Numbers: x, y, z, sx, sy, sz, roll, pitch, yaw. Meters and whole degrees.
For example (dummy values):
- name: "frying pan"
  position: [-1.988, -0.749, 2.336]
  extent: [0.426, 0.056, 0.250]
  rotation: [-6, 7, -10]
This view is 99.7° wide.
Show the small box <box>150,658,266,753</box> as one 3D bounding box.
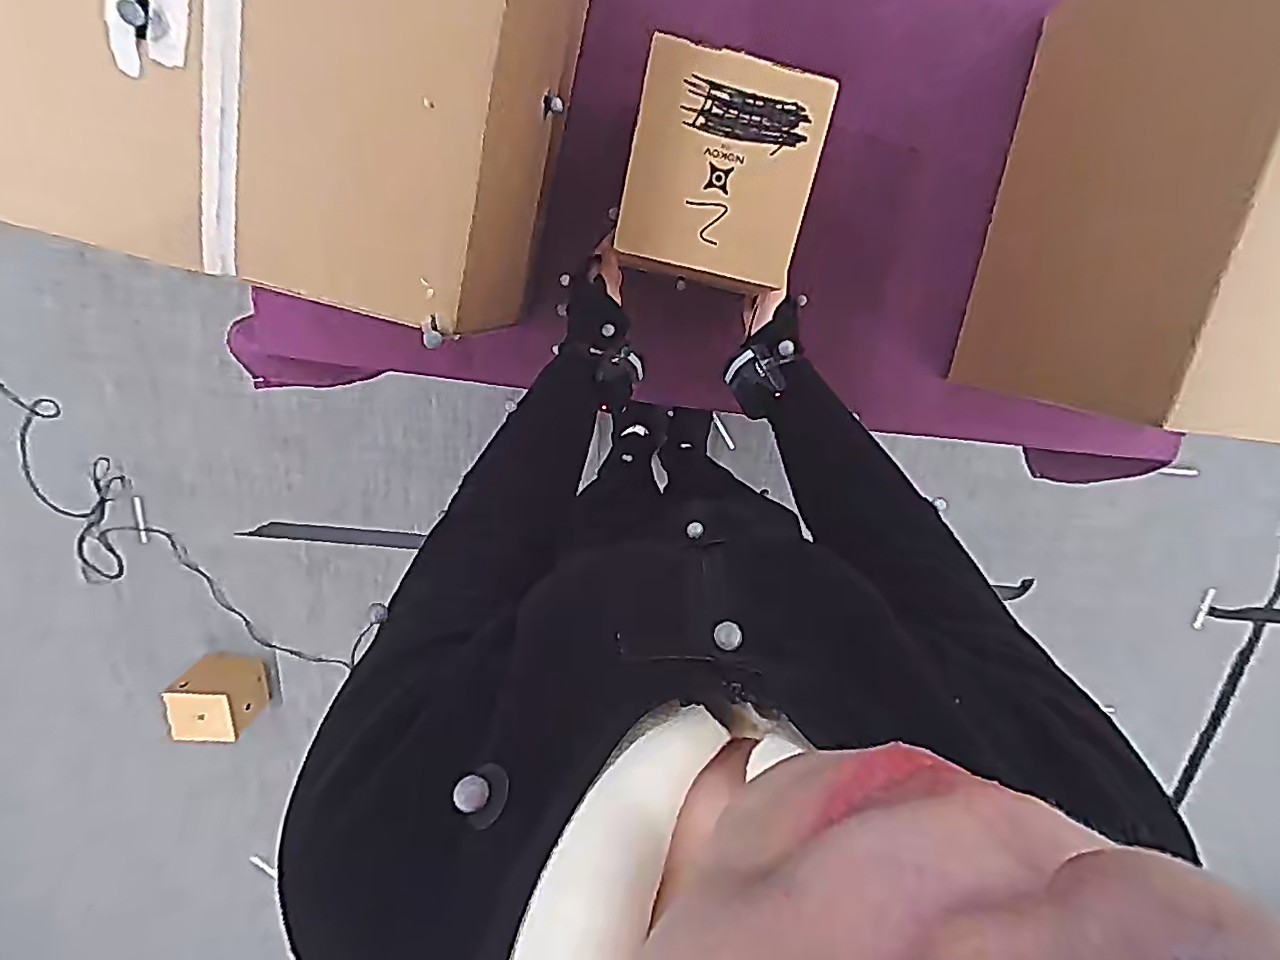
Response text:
- name: "small box"
  position: [-1.242, 0.649, 1.553]
  extent: [0.168, 0.176, 0.179]
  rotation: [9, 127, 16]
